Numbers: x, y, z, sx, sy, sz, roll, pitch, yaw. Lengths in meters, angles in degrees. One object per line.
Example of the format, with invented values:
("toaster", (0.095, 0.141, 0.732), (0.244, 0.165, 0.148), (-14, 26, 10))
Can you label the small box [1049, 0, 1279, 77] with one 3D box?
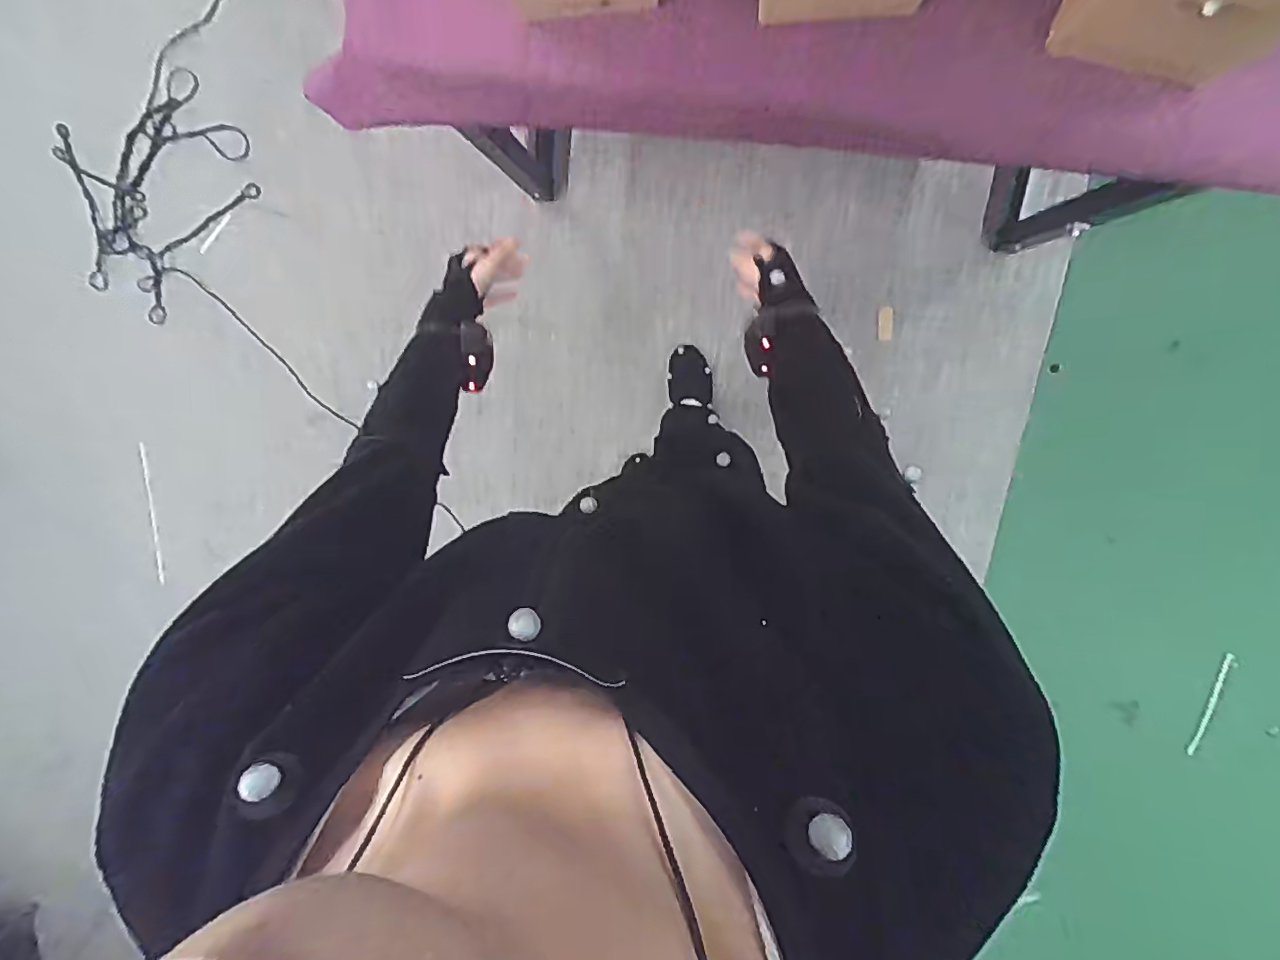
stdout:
("small box", (0.543, -0.514, 0.499), (0.179, 0.176, 0.168), (17, 103, 4))

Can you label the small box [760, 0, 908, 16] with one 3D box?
("small box", (0.212, -0.590, 0.519), (0.179, 0.176, 0.168), (1, 103, 6))
